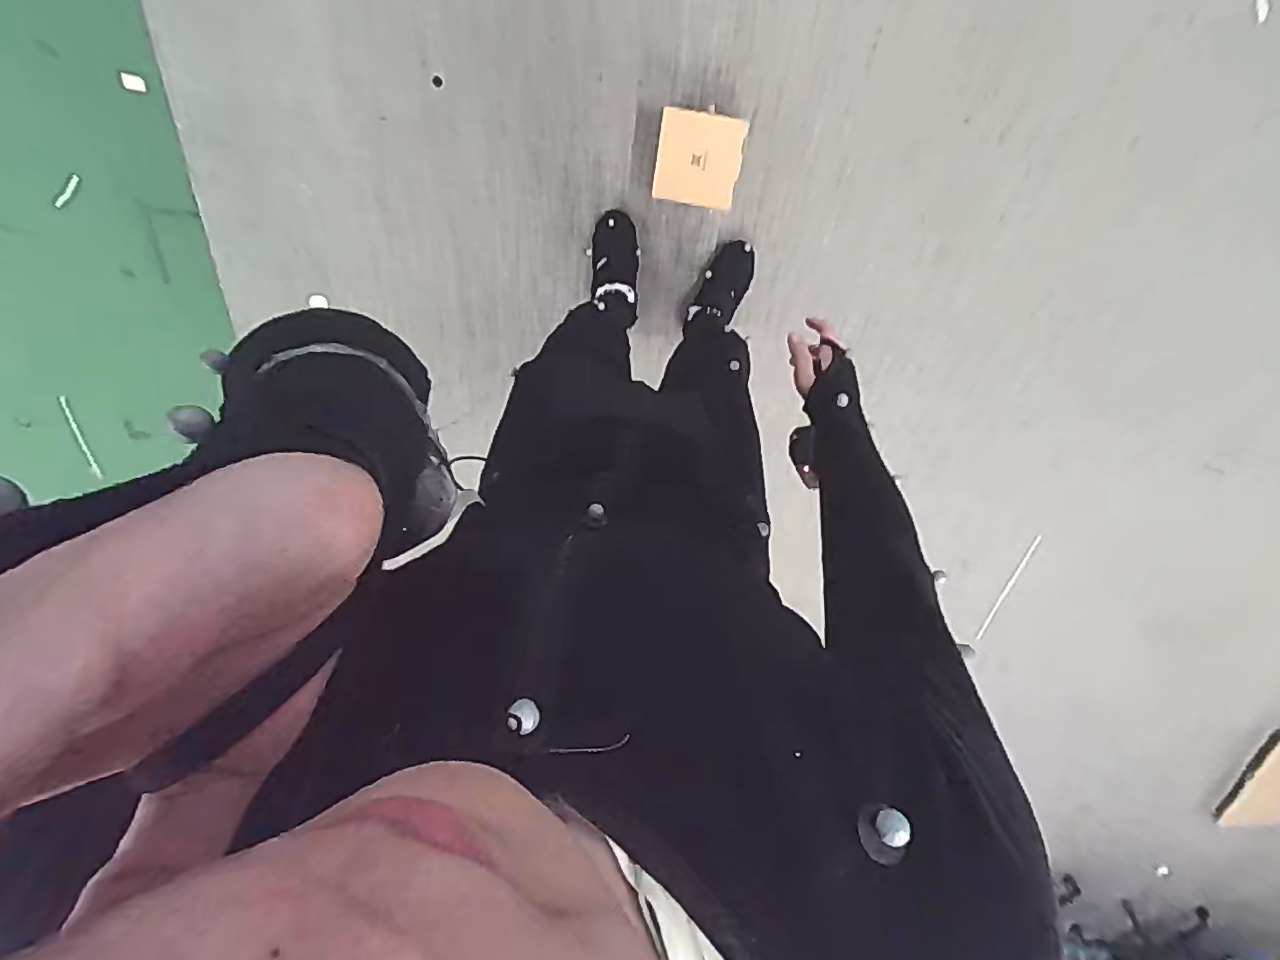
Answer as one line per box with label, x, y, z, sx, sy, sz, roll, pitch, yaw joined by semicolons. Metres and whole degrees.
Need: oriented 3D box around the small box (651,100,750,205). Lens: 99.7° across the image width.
small box;0.126;-0.708;1.174;0.179;0.176;0.168;9;122;-2
